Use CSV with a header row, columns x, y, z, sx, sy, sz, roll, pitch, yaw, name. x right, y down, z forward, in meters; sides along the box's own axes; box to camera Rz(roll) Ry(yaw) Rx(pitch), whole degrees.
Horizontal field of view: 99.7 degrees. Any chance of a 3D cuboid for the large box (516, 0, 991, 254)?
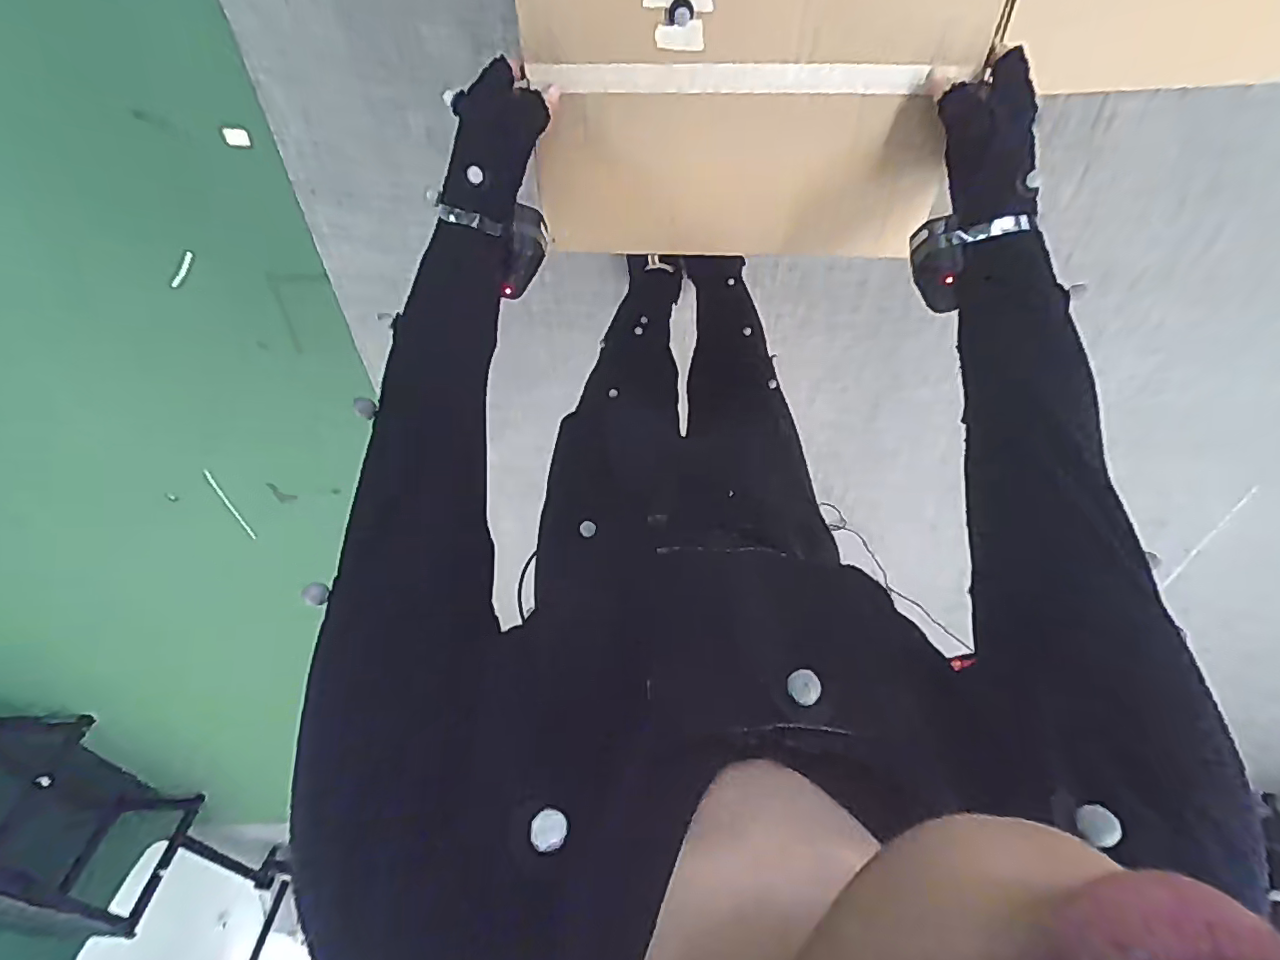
x,y,z,sx,sy,sz,roll,pitch,yaw,name
0.100,-0.465,0.596,0.408,0.320,0.320,2,133,1,large box
